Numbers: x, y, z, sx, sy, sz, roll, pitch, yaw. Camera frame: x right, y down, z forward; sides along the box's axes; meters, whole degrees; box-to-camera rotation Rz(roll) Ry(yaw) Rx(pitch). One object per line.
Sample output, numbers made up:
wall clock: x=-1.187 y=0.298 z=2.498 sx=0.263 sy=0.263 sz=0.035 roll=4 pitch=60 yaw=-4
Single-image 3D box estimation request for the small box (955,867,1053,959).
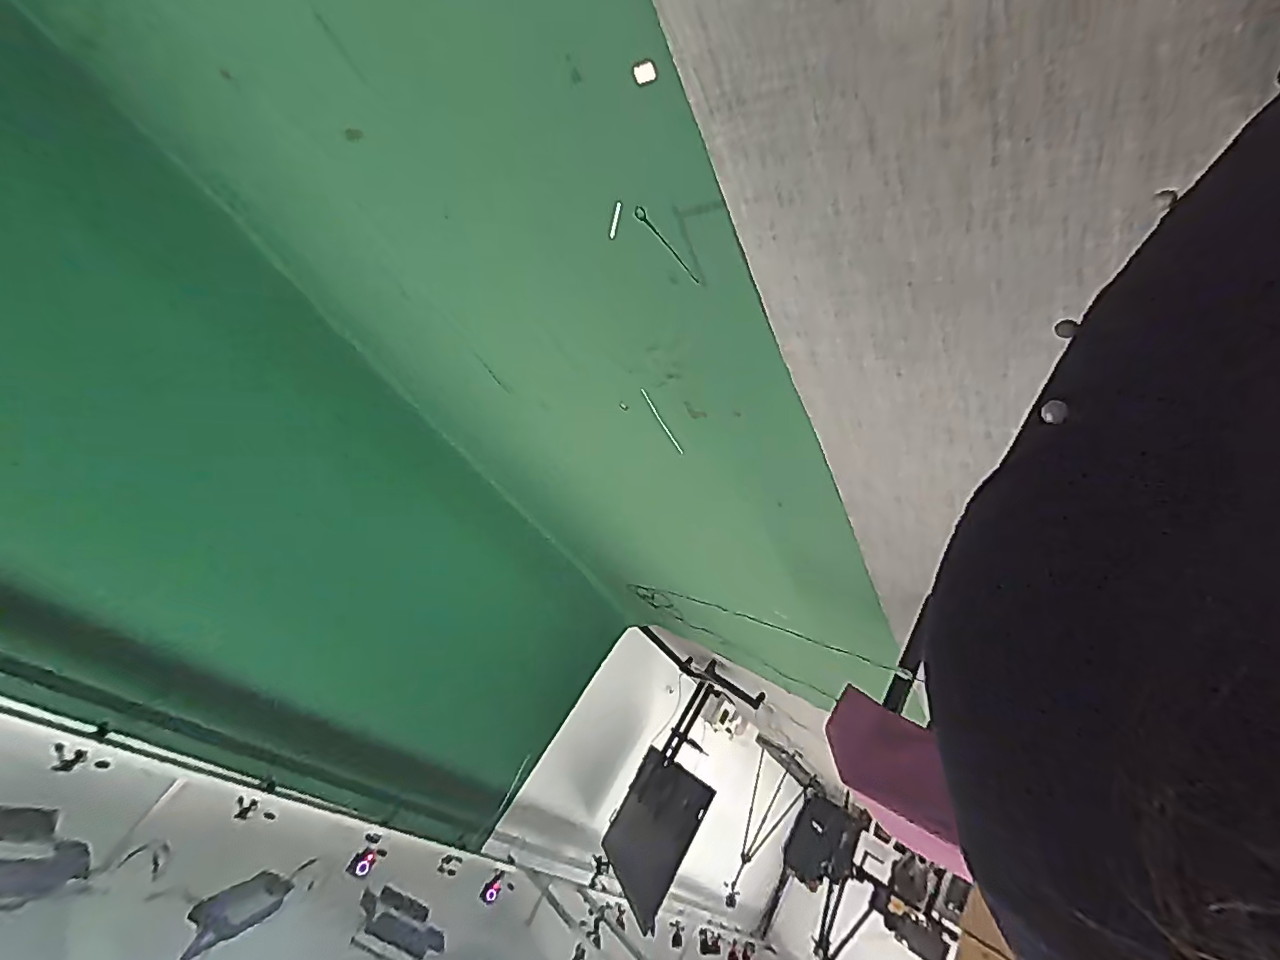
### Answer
small box: x=0.957 y=1.155 z=1.422 sx=0.179 sy=0.176 sz=0.168 roll=13 pitch=150 yaw=44
